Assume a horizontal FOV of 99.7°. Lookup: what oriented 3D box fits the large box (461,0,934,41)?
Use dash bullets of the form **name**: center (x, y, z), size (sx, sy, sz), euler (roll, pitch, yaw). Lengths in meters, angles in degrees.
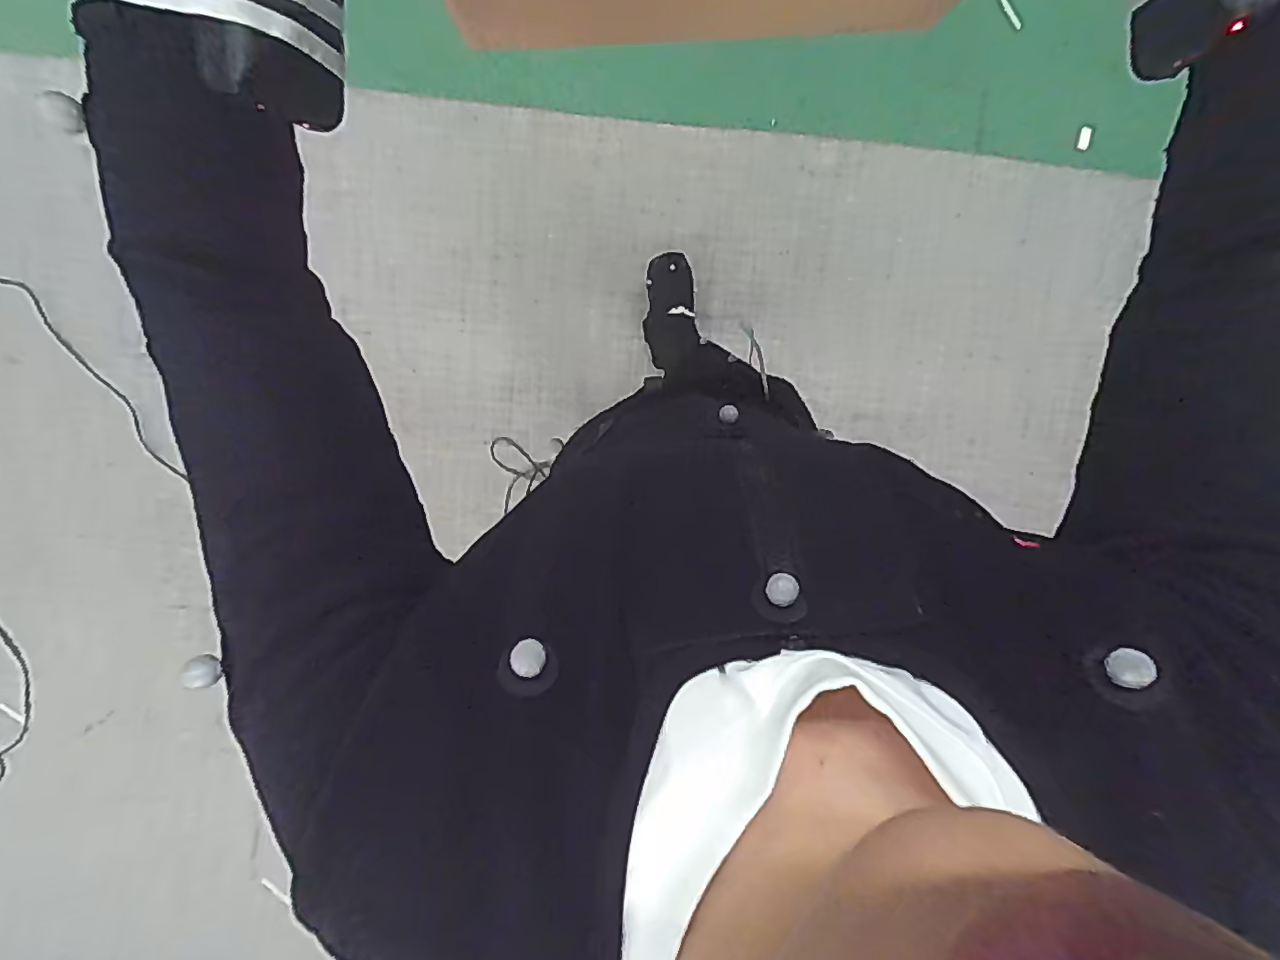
- **large box**: center (0.050, -0.502, 0.287), size (0.408, 0.320, 0.320), euler (-4, 105, -2)
